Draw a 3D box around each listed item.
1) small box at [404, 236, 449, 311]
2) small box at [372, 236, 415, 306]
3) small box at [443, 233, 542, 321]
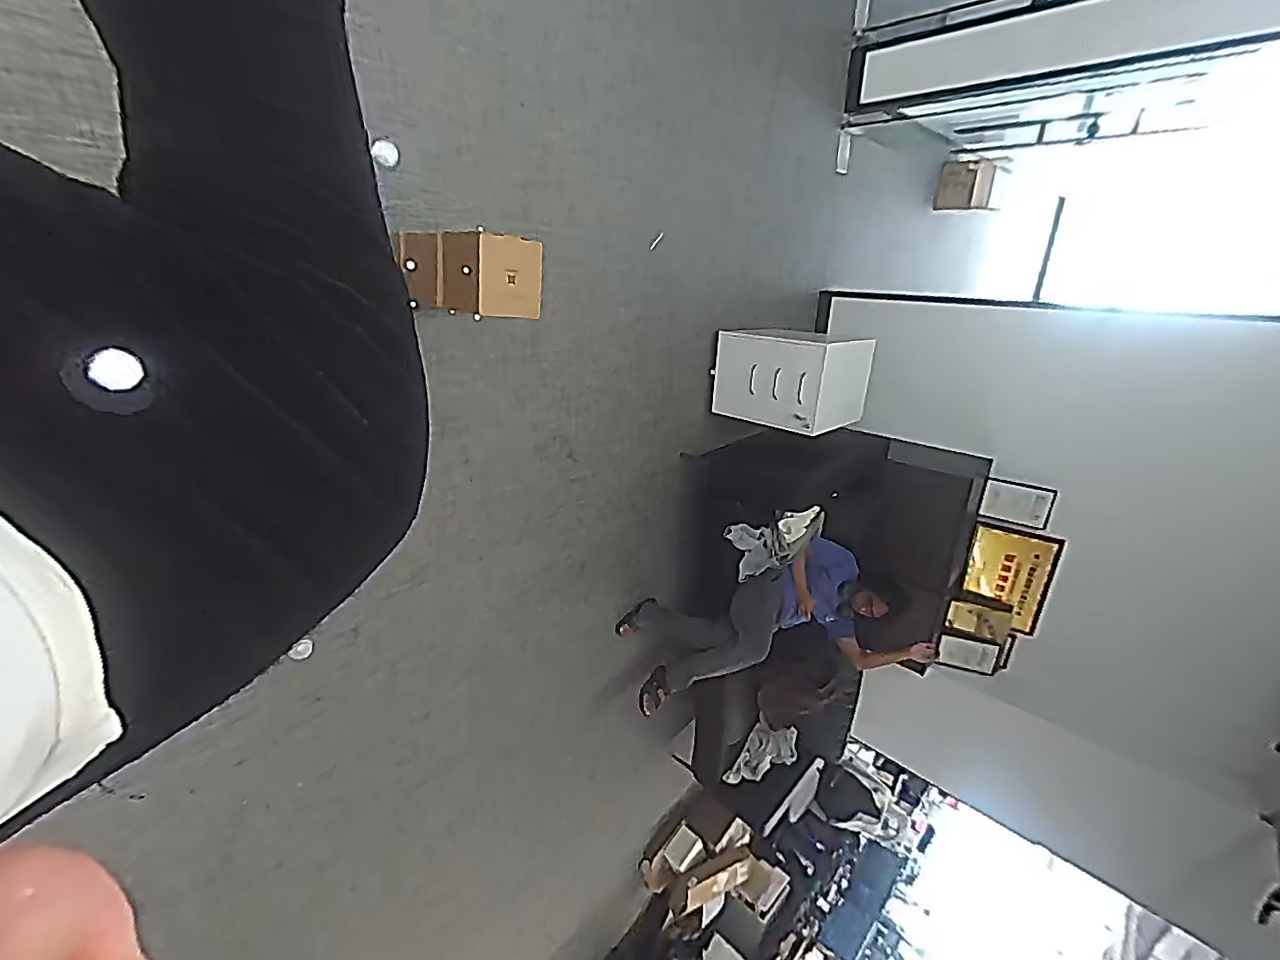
[{"bbox_3d":[-0.473,-0.516,1.368,0.179,0.176,0.168,-12,114,-46],"label":"small box"},{"bbox_3d":[-0.600,-0.561,1.464,0.179,0.176,0.168,-14,116,-46],"label":"small box"},{"bbox_3d":[-0.349,-0.476,1.273,0.168,0.176,0.179,-14,117,-45],"label":"small box"}]
